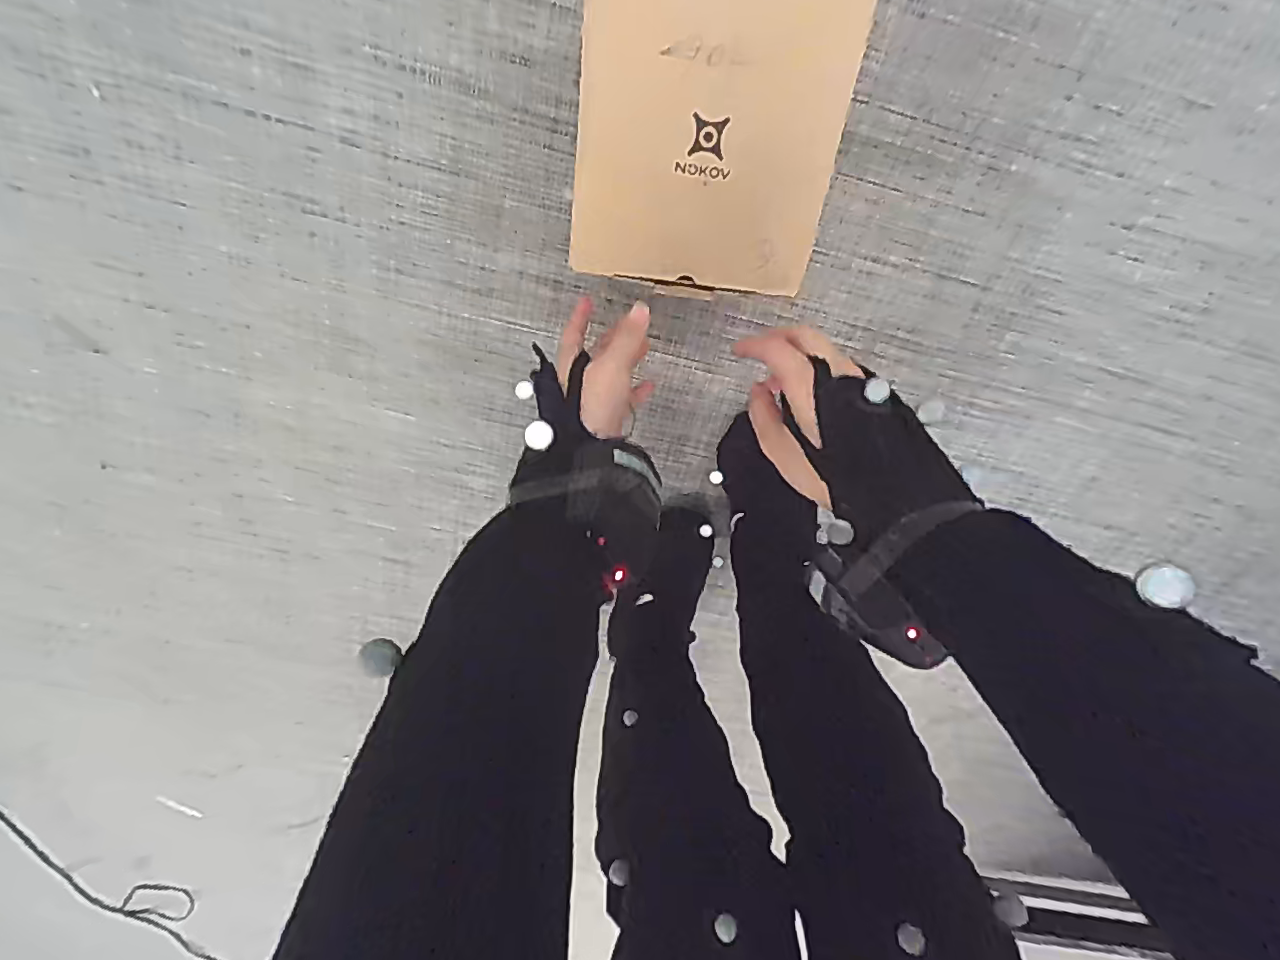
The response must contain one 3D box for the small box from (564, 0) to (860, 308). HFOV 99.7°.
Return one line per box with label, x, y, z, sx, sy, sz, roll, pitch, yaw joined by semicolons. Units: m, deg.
small box;0.038;-0.249;0.416;0.168;0.176;0.179;6;120;-4
